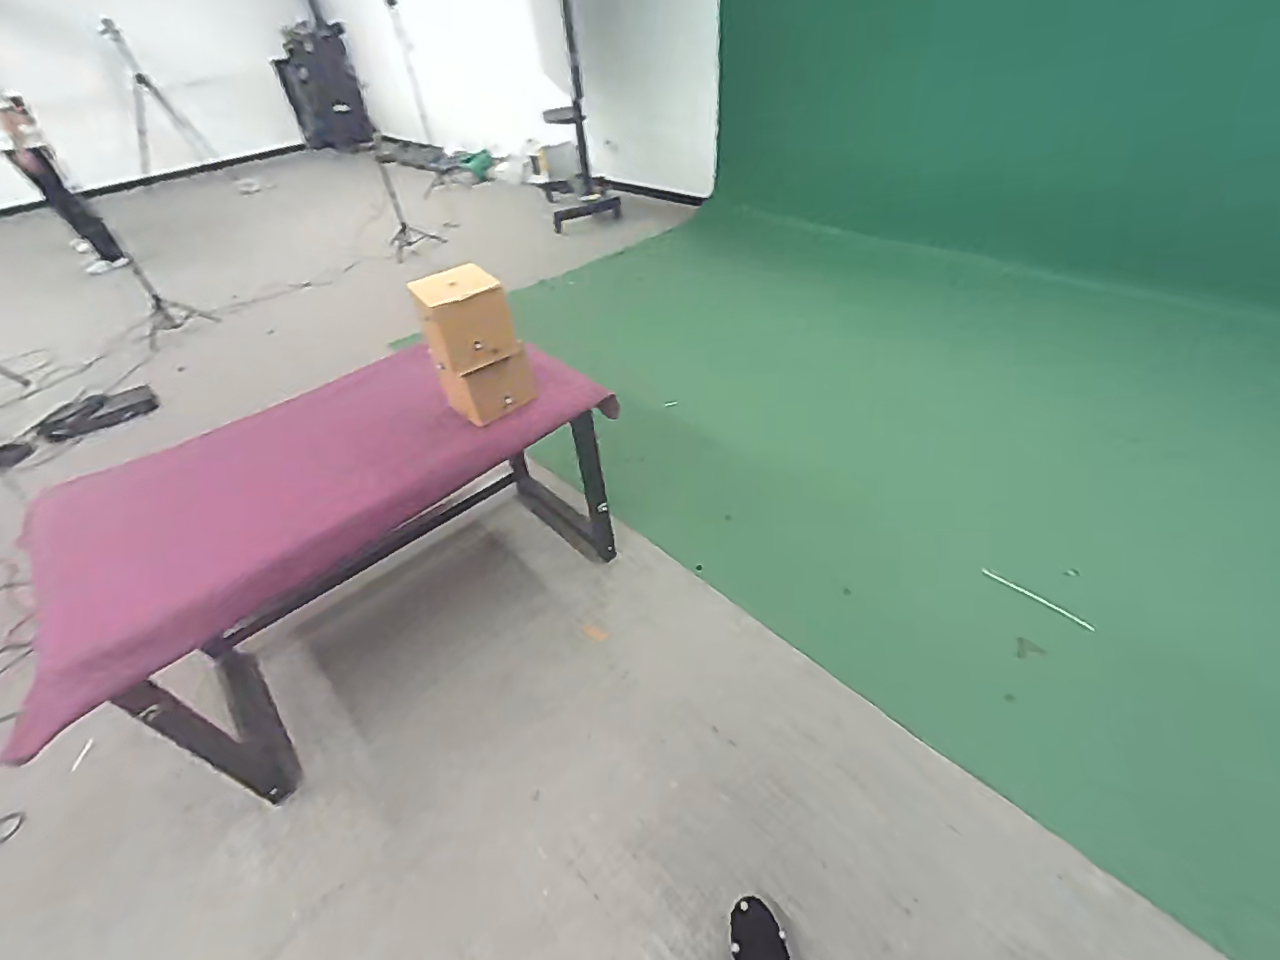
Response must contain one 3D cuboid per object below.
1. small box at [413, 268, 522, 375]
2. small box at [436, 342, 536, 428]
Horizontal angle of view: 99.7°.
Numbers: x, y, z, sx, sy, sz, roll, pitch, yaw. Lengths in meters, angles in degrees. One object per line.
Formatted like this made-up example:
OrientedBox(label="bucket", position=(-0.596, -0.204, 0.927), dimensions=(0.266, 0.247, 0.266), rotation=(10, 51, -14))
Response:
OrientedBox(label="small box", position=(-0.397, -0.368, 1.259), dimensions=(0.168, 0.176, 0.179), rotation=(-29, 47, -22))
OrientedBox(label="small box", position=(-0.384, -0.263, 1.385), dimensions=(0.179, 0.176, 0.168), rotation=(-35, 47, -28))
